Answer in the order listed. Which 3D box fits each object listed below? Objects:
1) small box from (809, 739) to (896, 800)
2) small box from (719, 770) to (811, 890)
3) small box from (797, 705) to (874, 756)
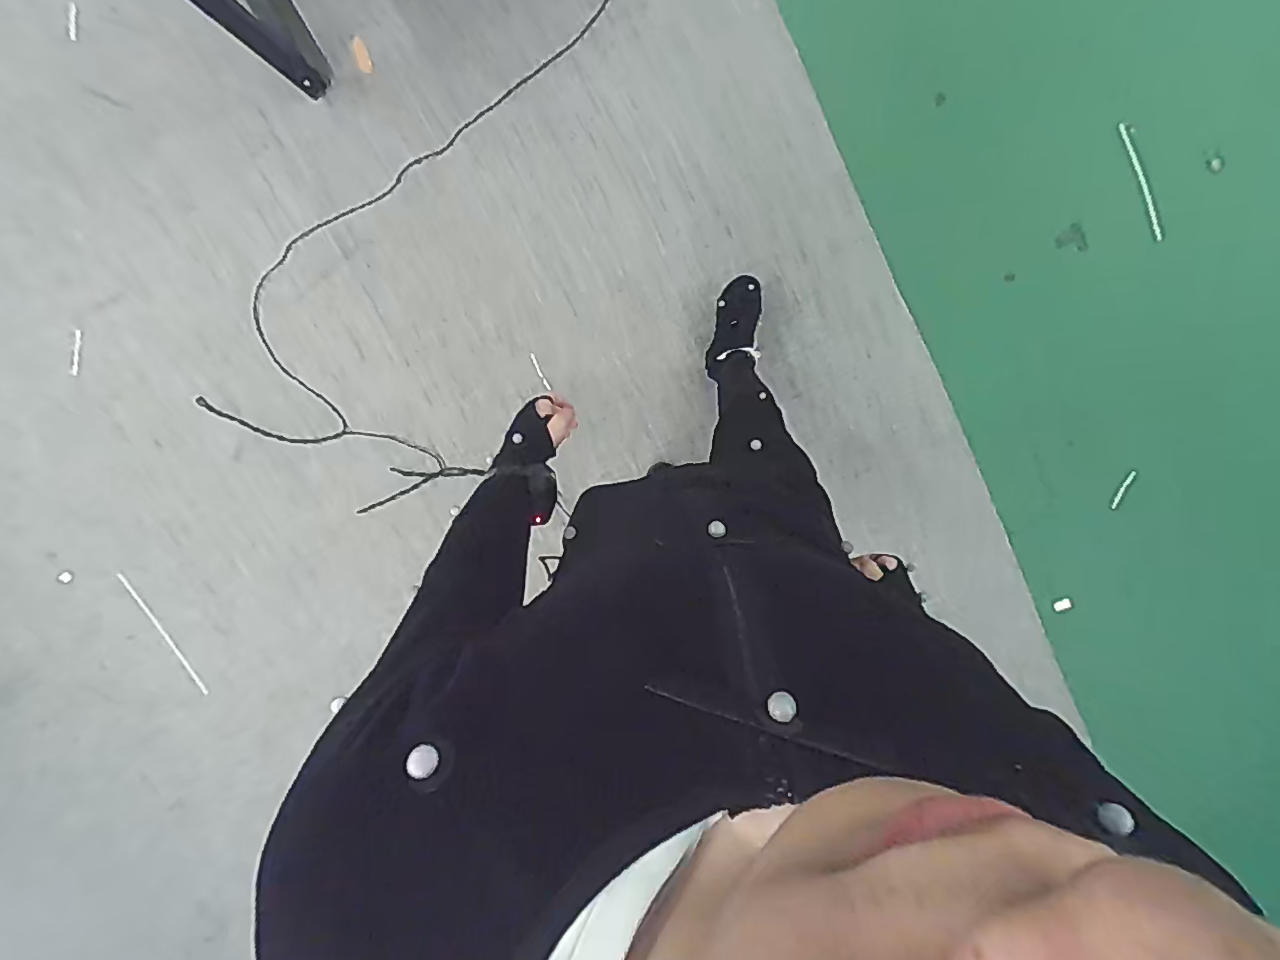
[{"bbox_3d":[0.562,0.809,1.405,0.168,0.176,0.179,-26,97,7],"label":"small box"},{"bbox_3d":[0.324,0.919,1.431,0.168,0.176,0.179,-26,97,4],"label":"small box"},{"bbox_3d":[0.574,0.782,1.563,0.168,0.176,0.179,-25,97,7],"label":"small box"}]
